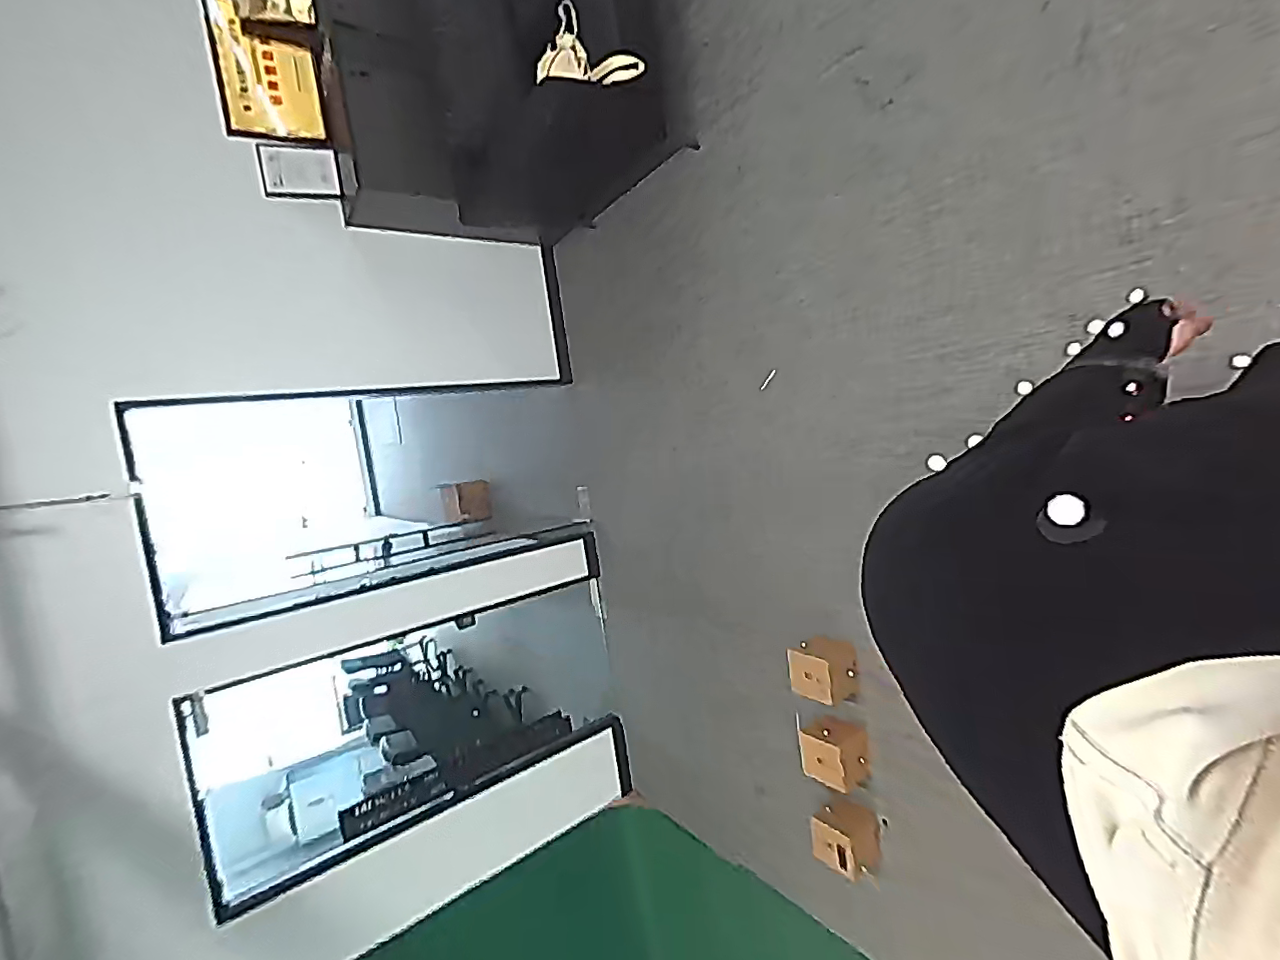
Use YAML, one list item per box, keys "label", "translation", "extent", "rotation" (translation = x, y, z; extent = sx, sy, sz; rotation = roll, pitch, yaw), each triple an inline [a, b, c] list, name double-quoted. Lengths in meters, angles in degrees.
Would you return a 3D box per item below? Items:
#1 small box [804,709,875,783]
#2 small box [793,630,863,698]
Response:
- label: "small box"
  translation: [0.738, 0.973, 1.999]
  extent: [0.179, 0.176, 0.168]
  rotation: [-4, 96, 54]
- label: "small box"
  translation: [0.690, 0.663, 1.979]
  extent: [0.179, 0.176, 0.168]
  rotation: [1, 100, 54]
